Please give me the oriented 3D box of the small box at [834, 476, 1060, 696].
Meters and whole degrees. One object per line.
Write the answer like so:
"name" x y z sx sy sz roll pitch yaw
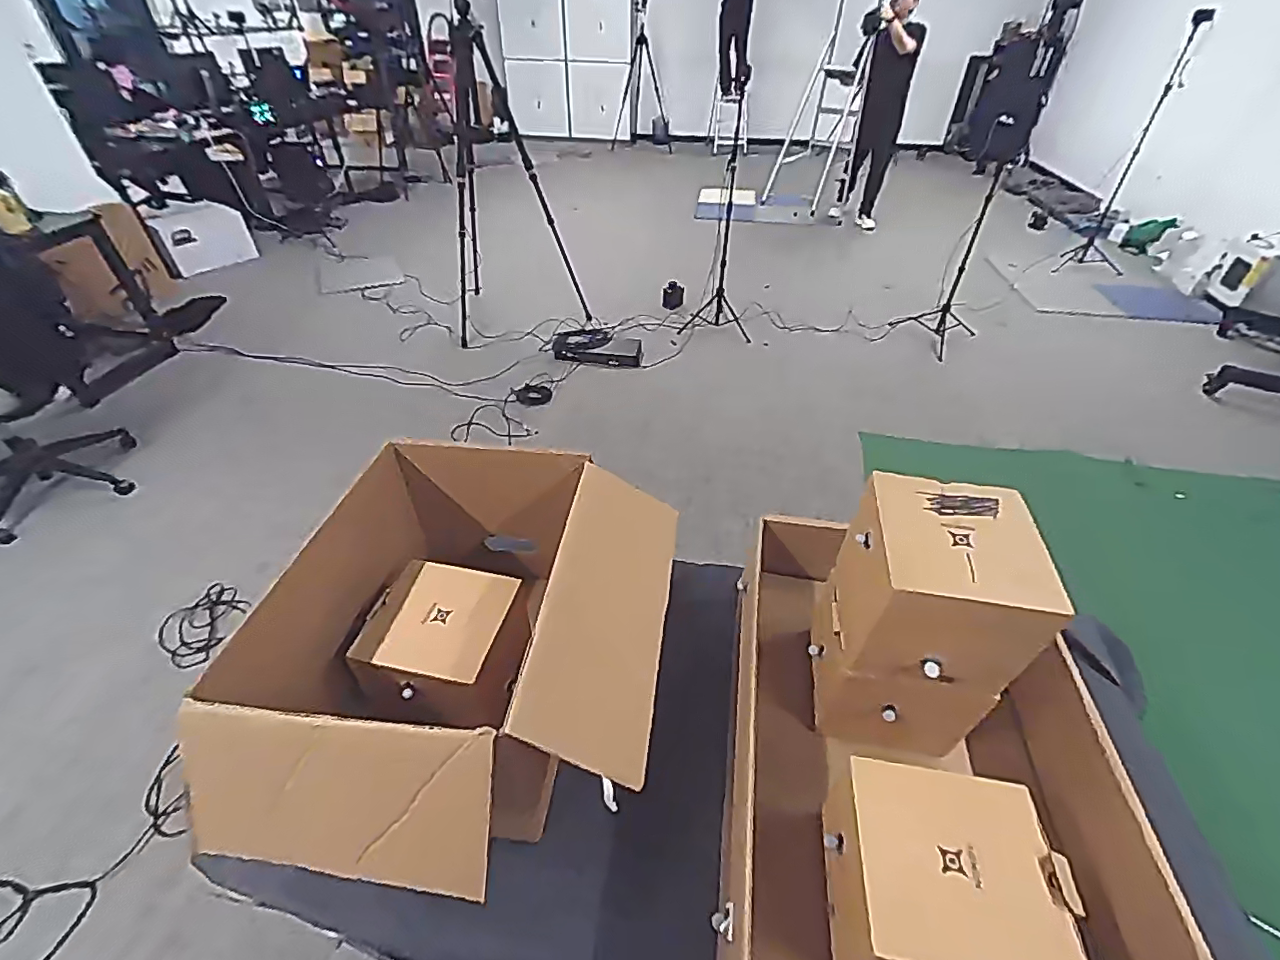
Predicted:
"small box" 0.335 0.123 0.638 0.168 0.176 0.179 8 44 8
